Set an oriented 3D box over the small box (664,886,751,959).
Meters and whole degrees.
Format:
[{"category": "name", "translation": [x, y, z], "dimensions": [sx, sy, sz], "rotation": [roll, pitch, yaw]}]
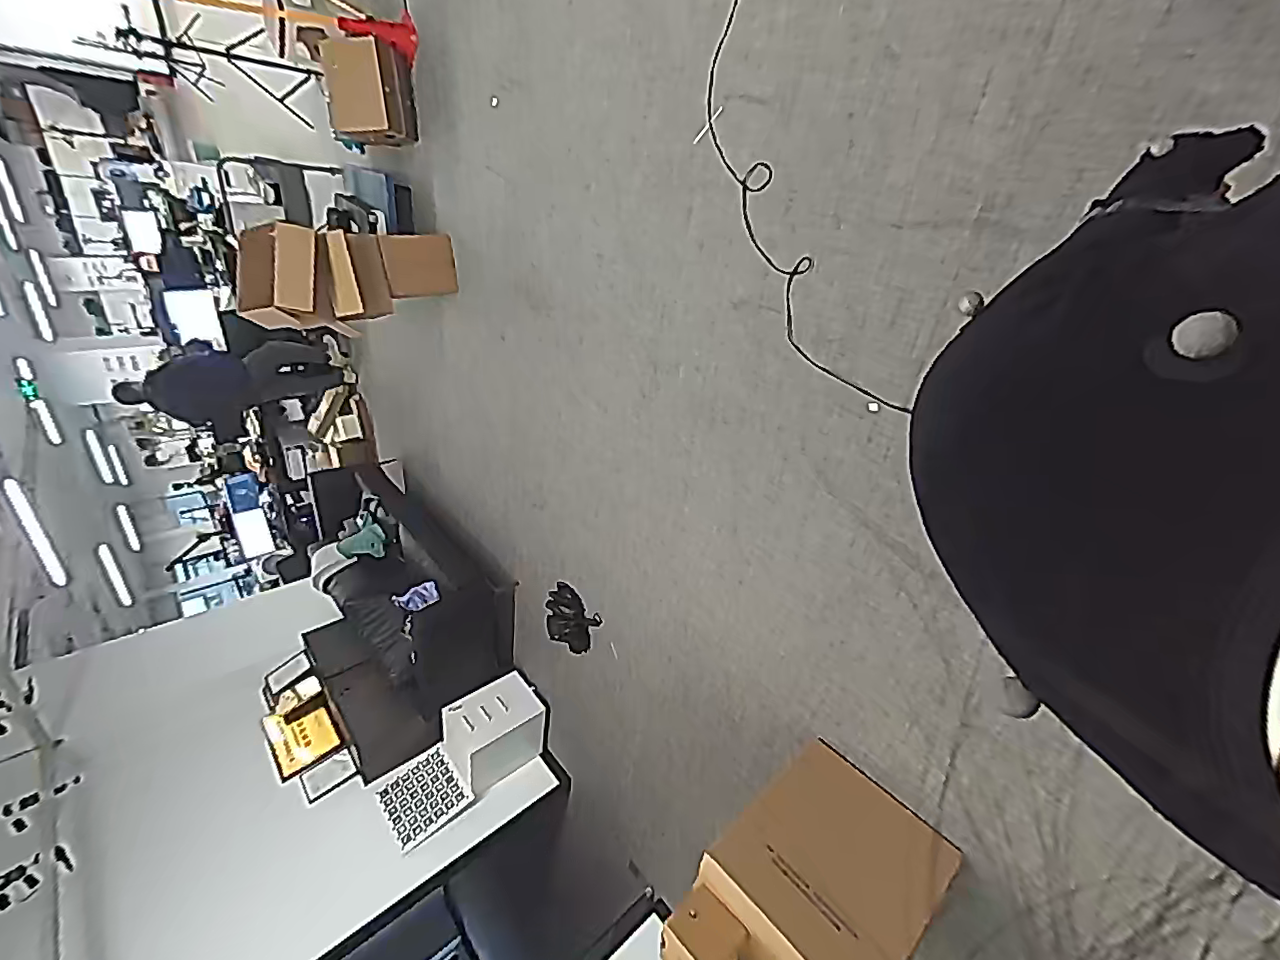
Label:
[{"category": "small box", "translation": [0.192, 1.321, 1.552], "dimensions": [0.179, 0.176, 0.168], "rotation": [22, 118, 42]}]
